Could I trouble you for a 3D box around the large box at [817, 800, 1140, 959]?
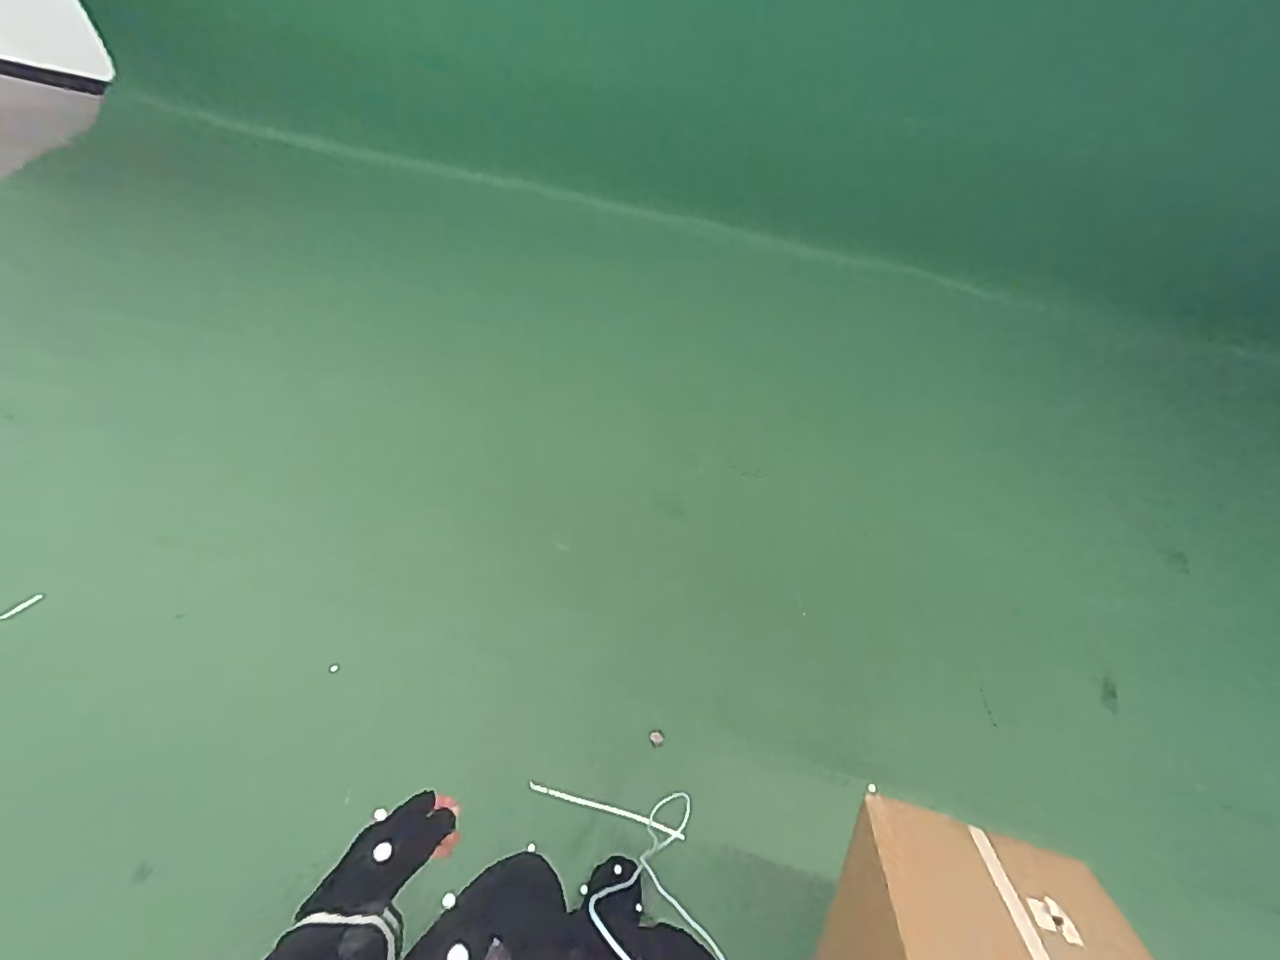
[{"bbox_3d":[0.420,0.700,0.647,0.320,0.408,0.320,14,101,10],"label":"large box"}]
